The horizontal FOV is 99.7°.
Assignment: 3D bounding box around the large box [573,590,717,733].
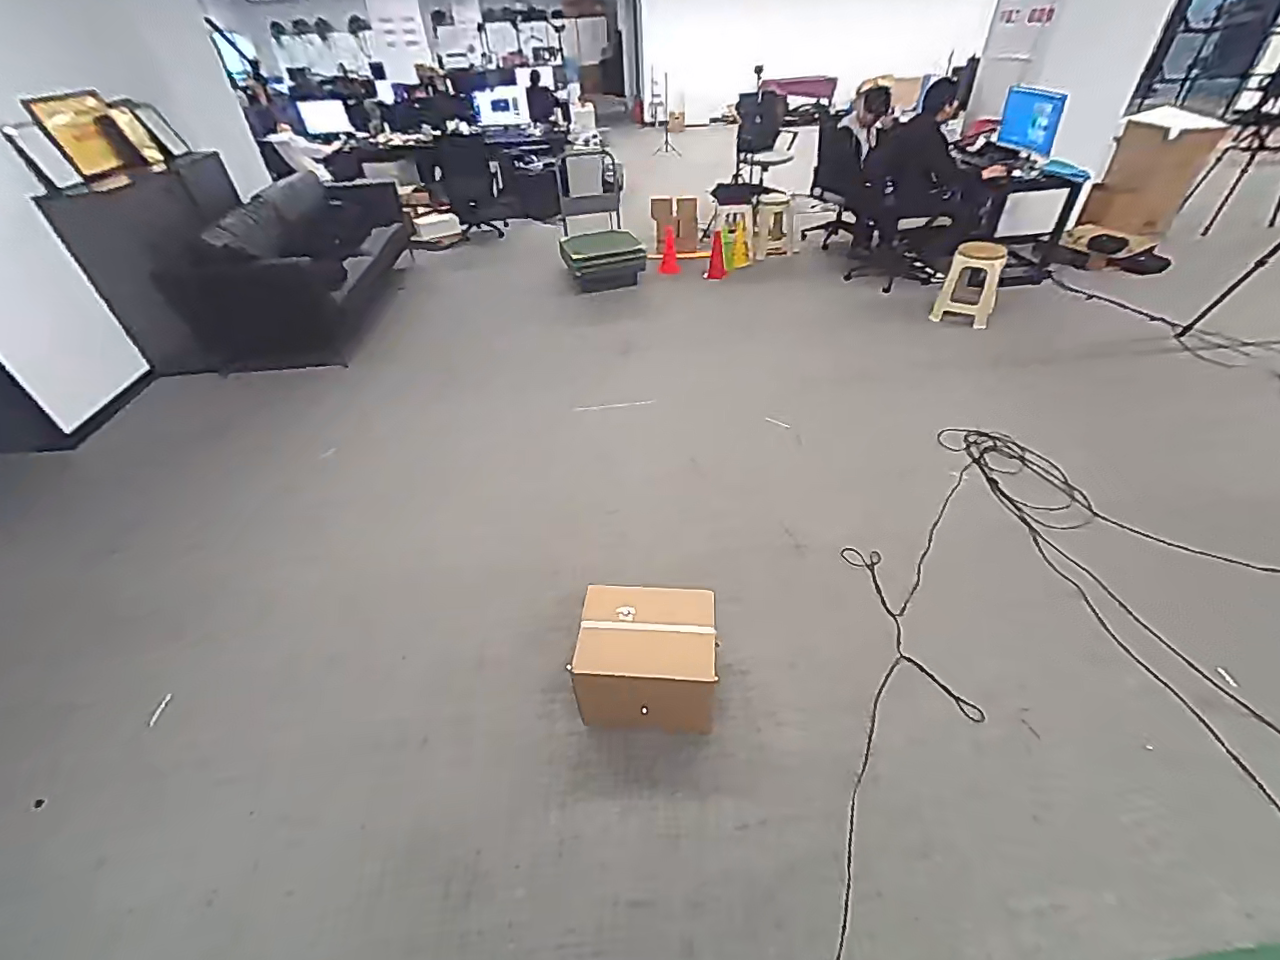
[{"bbox_3d":[0.033,0.567,1.696,0.408,0.320,0.320,1,39,7],"label":"large box"}]
